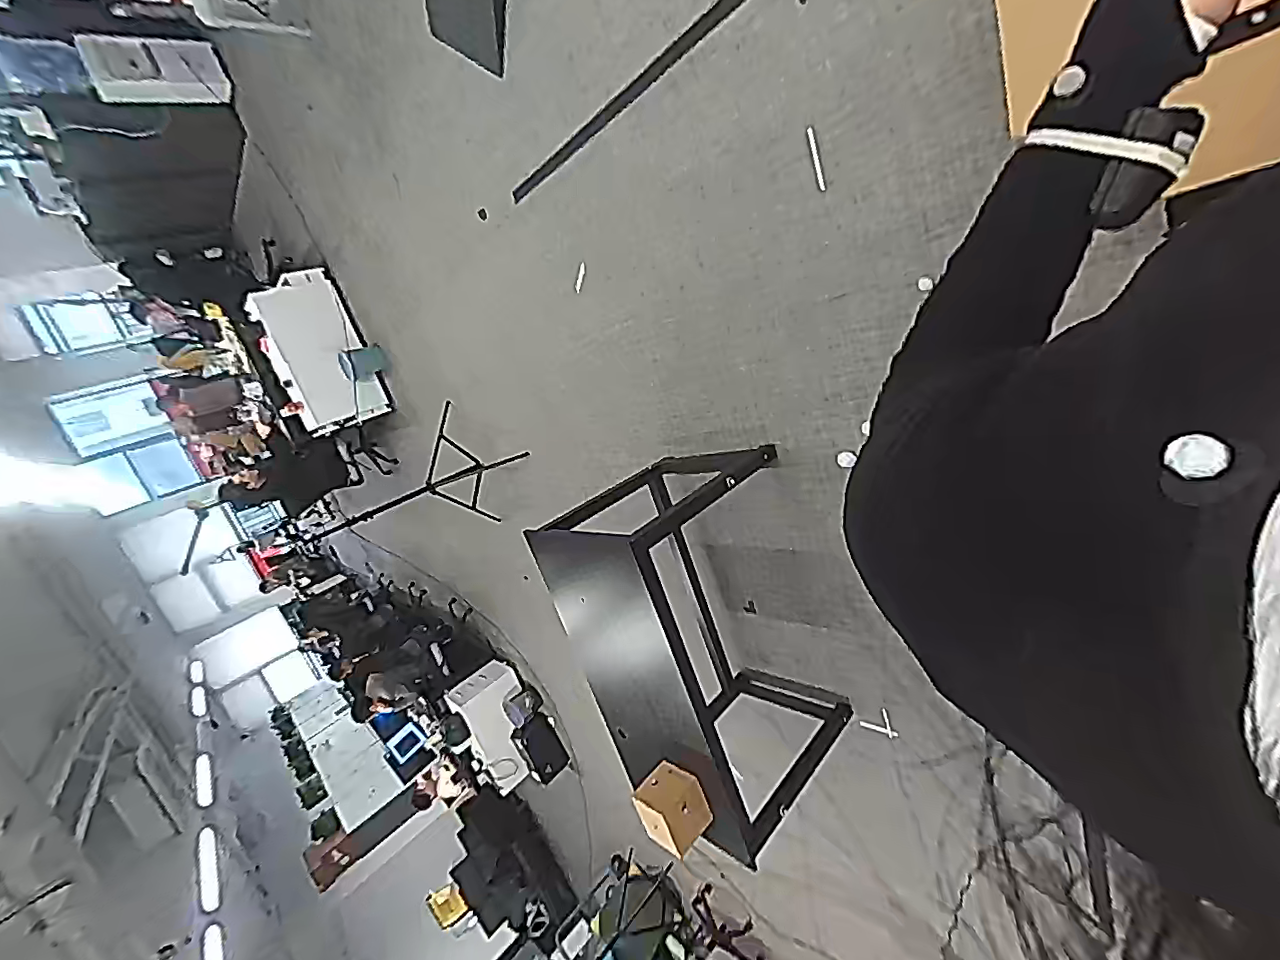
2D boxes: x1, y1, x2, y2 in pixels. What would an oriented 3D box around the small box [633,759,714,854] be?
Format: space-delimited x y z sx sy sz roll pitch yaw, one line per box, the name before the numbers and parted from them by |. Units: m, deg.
small box | 0.114 1.065 1.781 0.168 0.176 0.179 -5 111 52
